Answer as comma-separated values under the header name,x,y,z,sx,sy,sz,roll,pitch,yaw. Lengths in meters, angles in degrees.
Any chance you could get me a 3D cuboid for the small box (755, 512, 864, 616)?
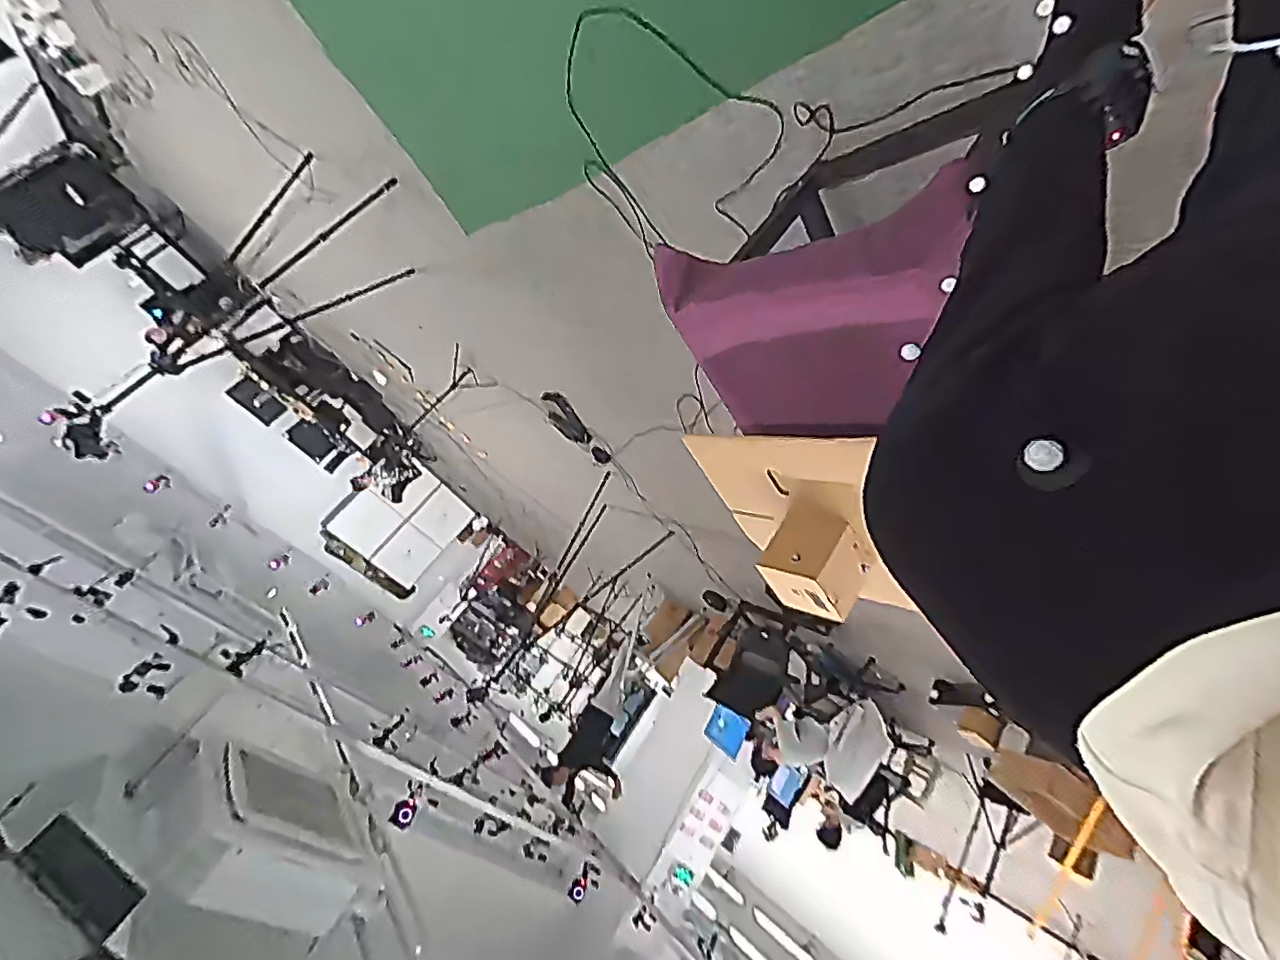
name,x,y,z,sx,sy,sz,roll,pitch,yaw
small box,0.416,0.195,1.305,0.179,0.176,0.168,7,143,52
